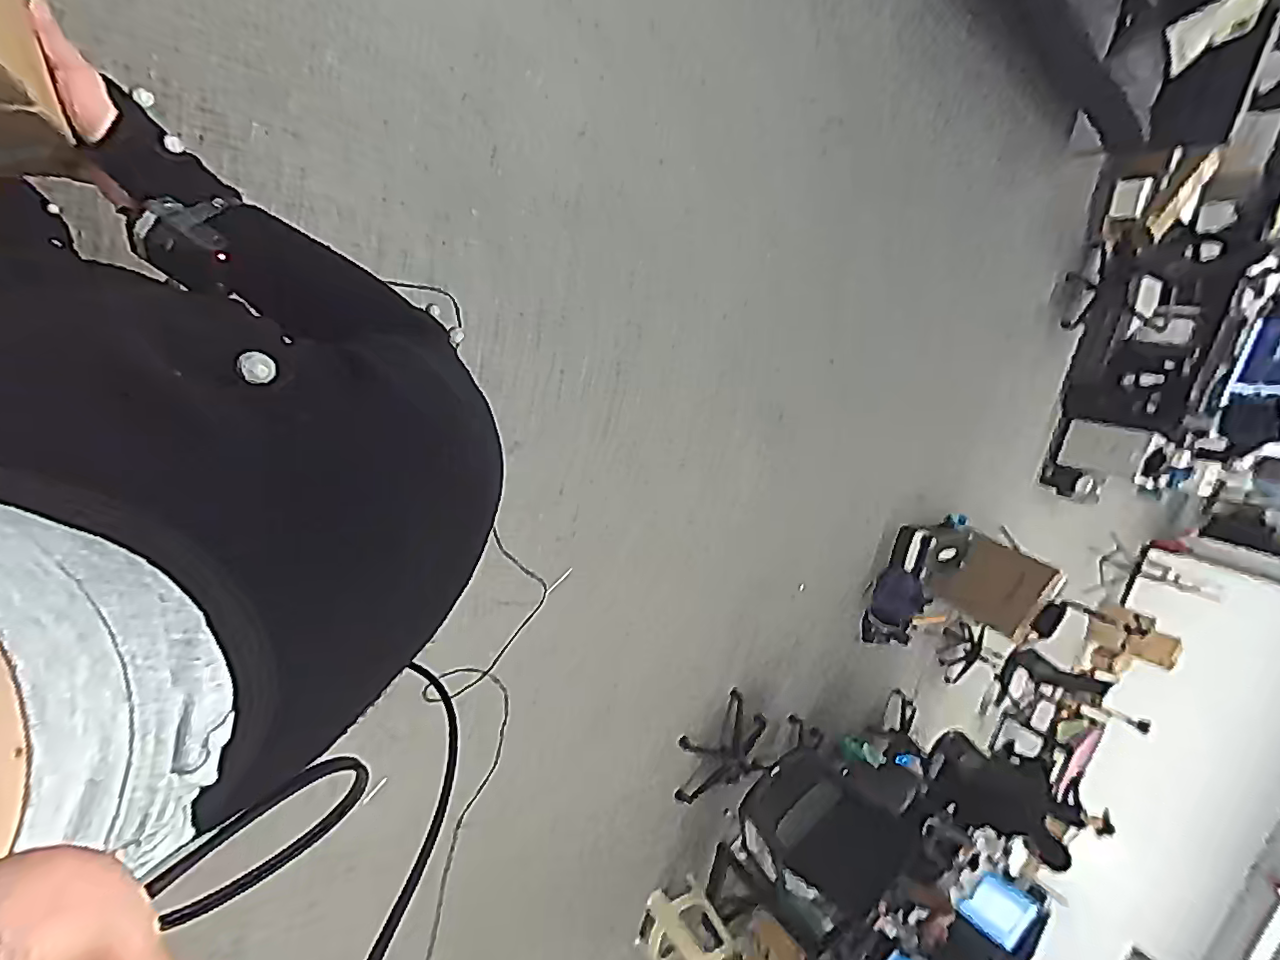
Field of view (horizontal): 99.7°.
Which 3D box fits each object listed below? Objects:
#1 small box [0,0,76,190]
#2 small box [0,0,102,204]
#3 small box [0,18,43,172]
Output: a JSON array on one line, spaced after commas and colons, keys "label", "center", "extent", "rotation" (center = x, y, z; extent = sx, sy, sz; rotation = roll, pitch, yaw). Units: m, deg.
[{"label": "small box", "center": [-0.452, -0.260, 0.288], "extent": [0.168, 0.176, 0.179], "rotation": [-18, 118, -34]}, {"label": "small box", "center": [-0.551, -0.310, 0.406], "extent": [0.168, 0.176, 0.179], "rotation": [-17, 119, -34]}, {"label": "small box", "center": [-0.348, -0.210, 0.171], "extent": [0.168, 0.176, 0.179], "rotation": [-17, 120, -34]}]
